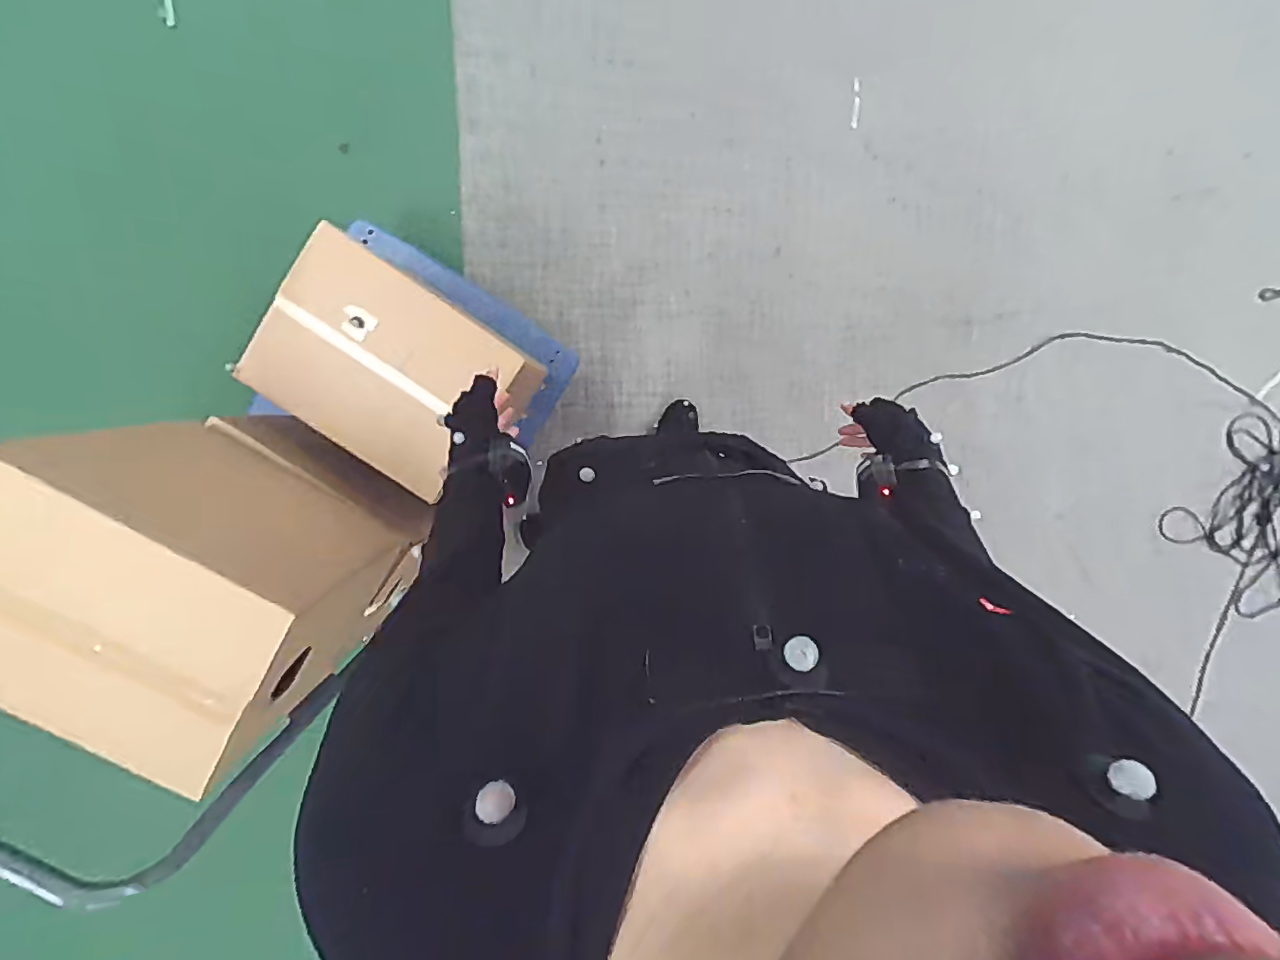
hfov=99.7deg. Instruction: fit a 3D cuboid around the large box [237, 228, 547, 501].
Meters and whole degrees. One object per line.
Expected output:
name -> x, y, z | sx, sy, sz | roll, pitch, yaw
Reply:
large box -> -0.453, -0.214, 1.082 | 0.408, 0.320, 0.320 | 35, 96, -6
